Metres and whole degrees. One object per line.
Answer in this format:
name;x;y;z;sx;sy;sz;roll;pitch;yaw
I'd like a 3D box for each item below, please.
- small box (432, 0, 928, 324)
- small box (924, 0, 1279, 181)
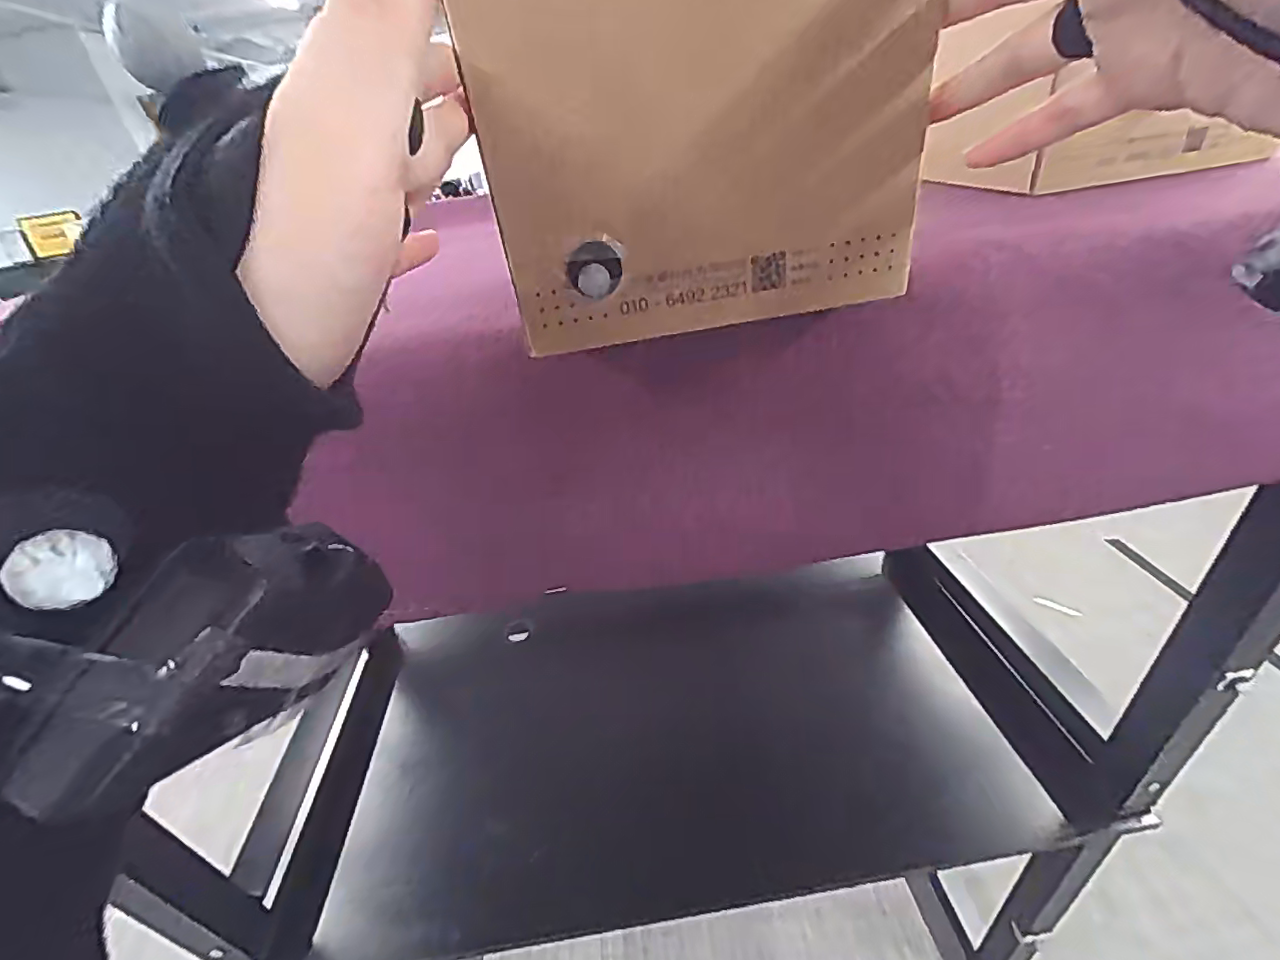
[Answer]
small box;0.012;-0.179;0.248;0.168;0.176;0.179;-10;32;-2
small box;0.328;-0.318;0.383;0.168;0.176;0.179;-8;33;2
